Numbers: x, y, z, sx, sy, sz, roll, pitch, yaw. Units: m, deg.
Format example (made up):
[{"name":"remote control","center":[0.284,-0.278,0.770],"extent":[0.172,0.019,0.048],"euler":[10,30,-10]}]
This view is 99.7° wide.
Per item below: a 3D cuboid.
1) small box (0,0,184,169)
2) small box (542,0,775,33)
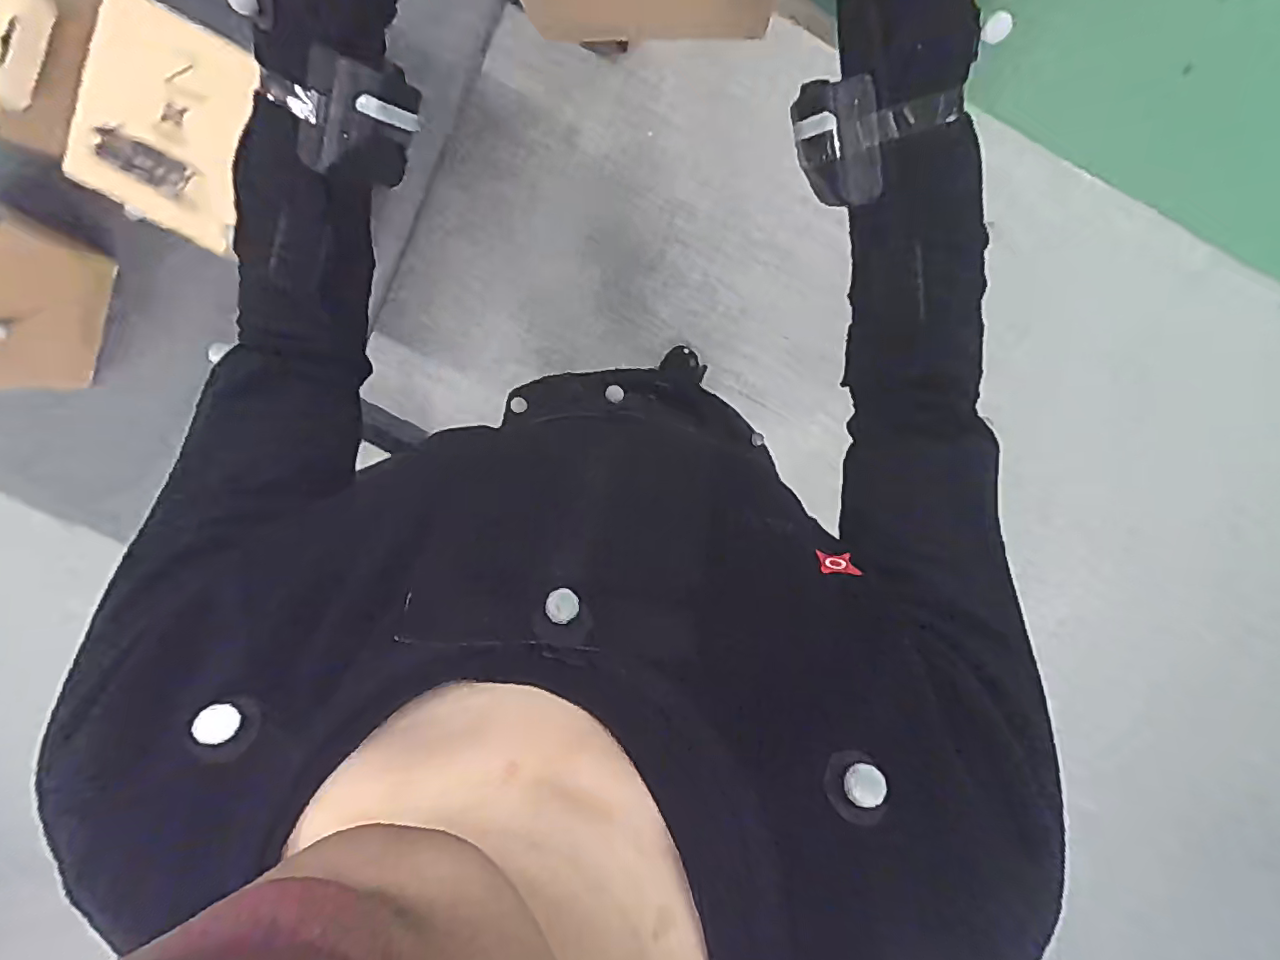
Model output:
[{"name":"small box","center":[-0.632,-0.453,0.553],"extent":[0.179,0.176,0.168],"euler":[32,102,-5]},{"name":"small box","center":[0.015,-0.393,0.311],"extent":[0.179,0.176,0.168],"euler":[4,109,4]}]
